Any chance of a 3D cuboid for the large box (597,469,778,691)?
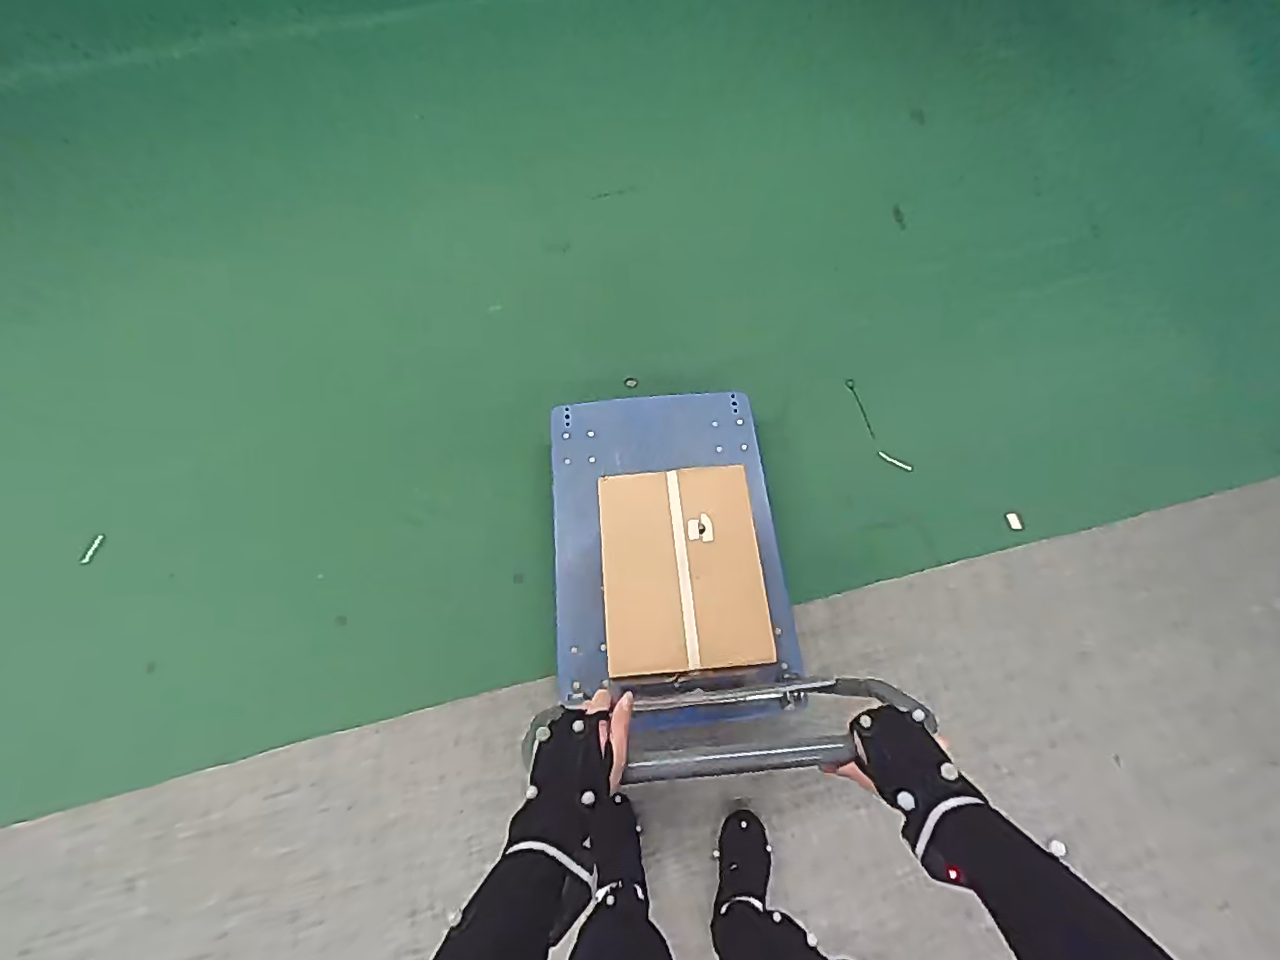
[{"bbox_3d":[0.087,0.232,1.200,0.320,0.320,0.408,-5,66,-2],"label":"large box"}]
